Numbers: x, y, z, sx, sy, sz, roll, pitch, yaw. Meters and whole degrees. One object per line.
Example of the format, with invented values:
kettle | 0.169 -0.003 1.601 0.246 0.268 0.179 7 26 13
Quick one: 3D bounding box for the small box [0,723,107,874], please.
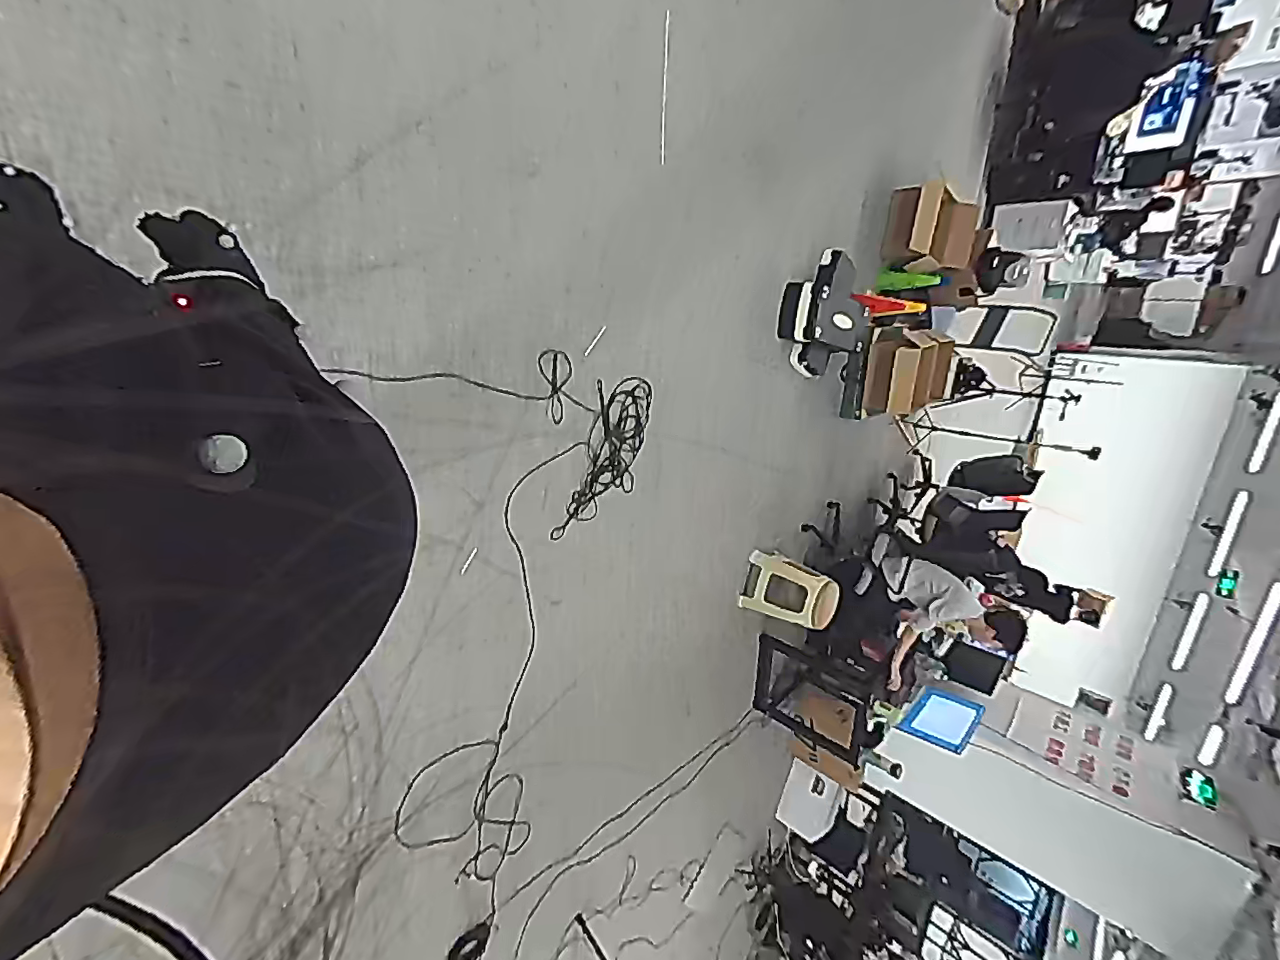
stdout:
small box | -1.193 0.613 1.066 0.168 0.176 0.179 -16 115 -44
